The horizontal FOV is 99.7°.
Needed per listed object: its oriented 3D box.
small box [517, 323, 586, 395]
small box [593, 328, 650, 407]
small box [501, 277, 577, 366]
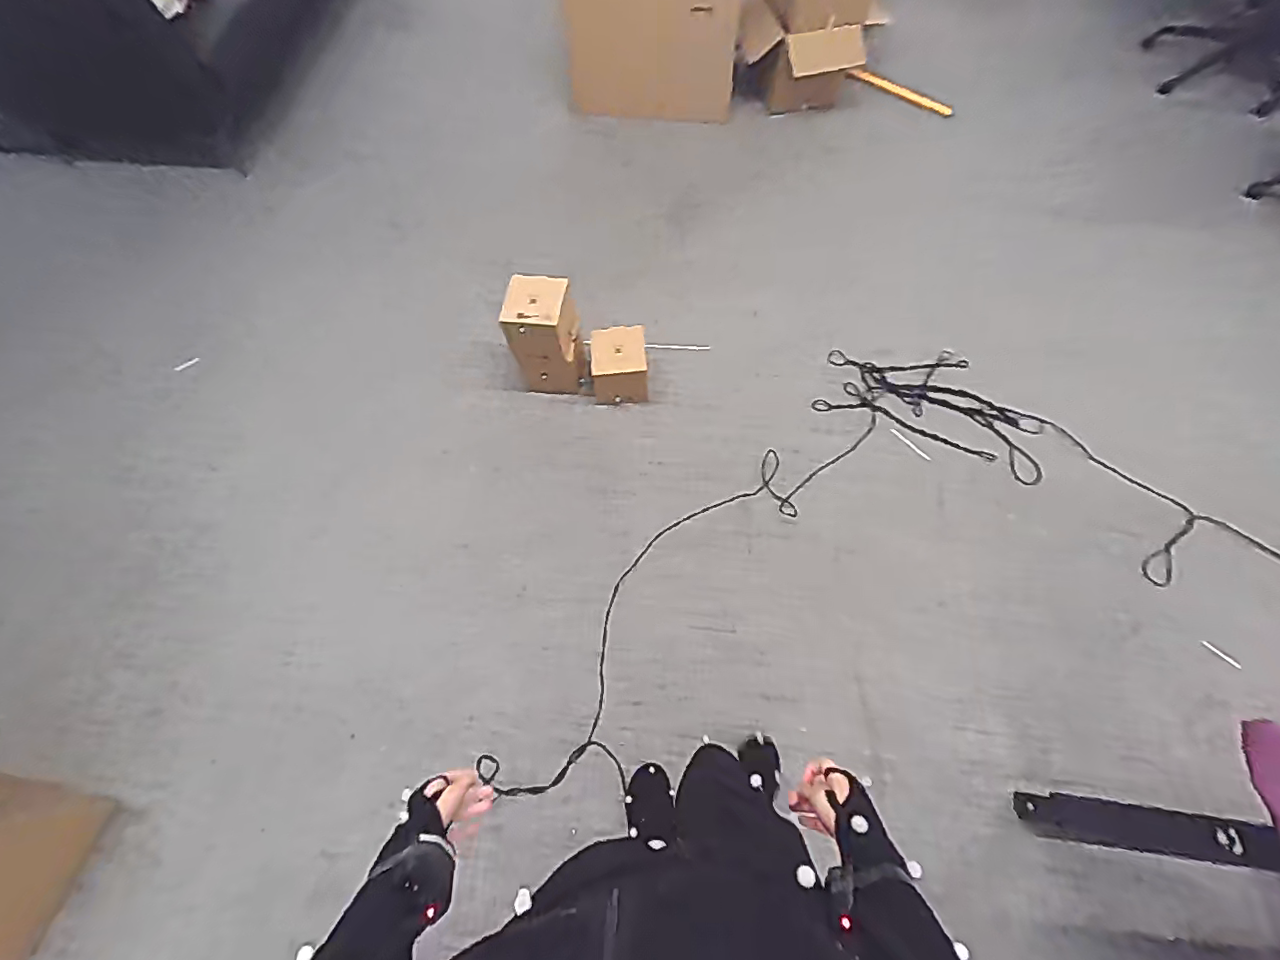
[{"bbox_3d":[-0.274,-0.388,1.725,0.179,0.176,0.168,4,63,5],"label":"small box"},{"bbox_3d":[-0.058,-0.352,1.698,0.168,0.176,0.179,-4,64,1],"label":"small box"},{"bbox_3d":[-0.286,-0.461,1.578,0.168,0.176,0.179,6,63,6],"label":"small box"}]
